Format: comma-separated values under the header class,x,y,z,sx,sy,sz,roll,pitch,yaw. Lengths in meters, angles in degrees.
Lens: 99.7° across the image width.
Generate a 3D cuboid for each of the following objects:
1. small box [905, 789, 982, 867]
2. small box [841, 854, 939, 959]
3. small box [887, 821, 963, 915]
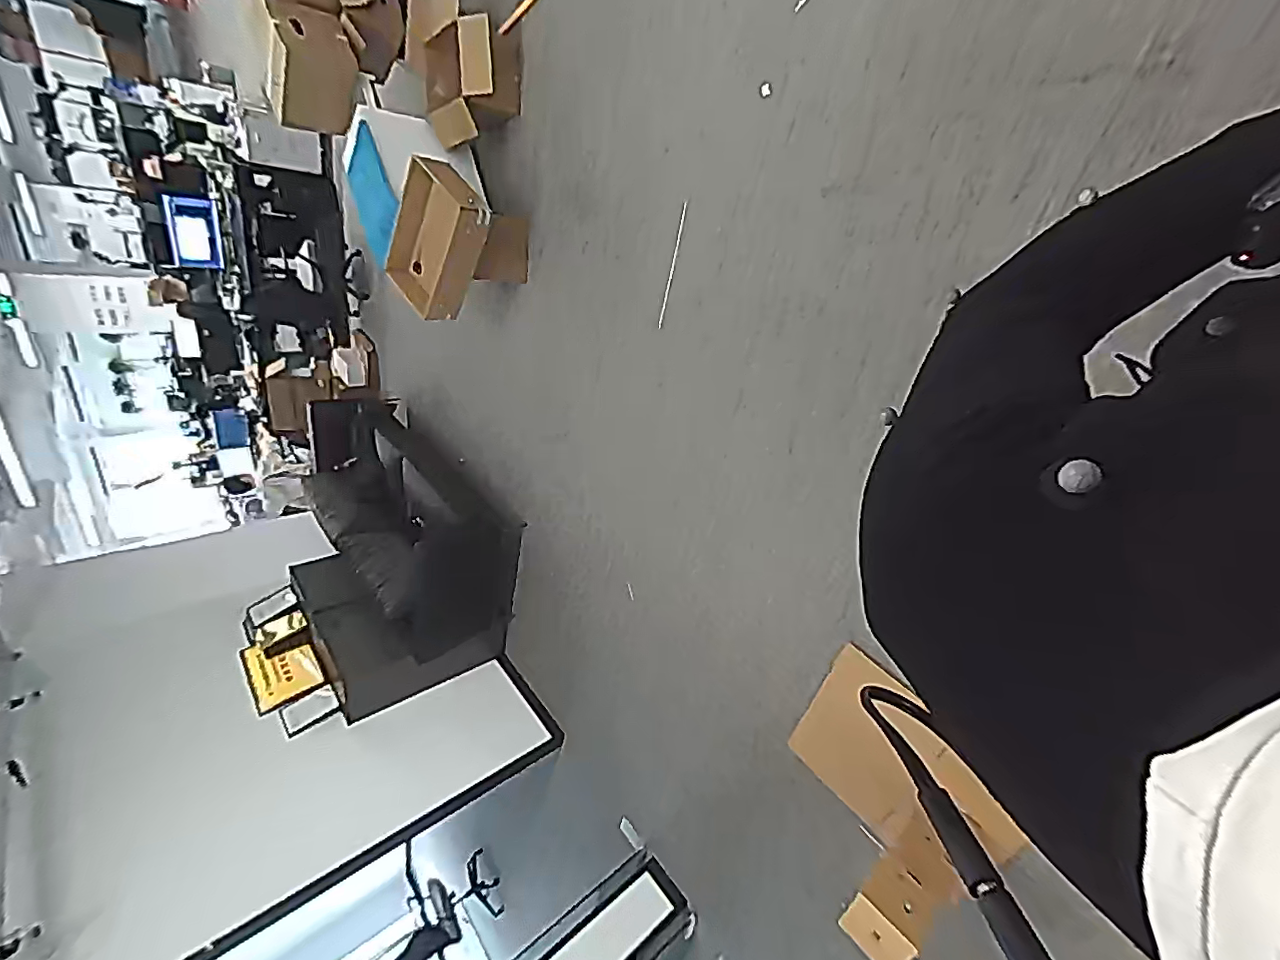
class,x,y,z,sx,sy,sz,roll,pitch,yaw
small box,0.933,1.121,1.689,0.168,0.176,0.179,31,123,40
small box,0.689,1.183,1.483,0.168,0.176,0.179,34,126,37
small box,0.812,1.153,1.584,0.168,0.176,0.179,34,126,38
